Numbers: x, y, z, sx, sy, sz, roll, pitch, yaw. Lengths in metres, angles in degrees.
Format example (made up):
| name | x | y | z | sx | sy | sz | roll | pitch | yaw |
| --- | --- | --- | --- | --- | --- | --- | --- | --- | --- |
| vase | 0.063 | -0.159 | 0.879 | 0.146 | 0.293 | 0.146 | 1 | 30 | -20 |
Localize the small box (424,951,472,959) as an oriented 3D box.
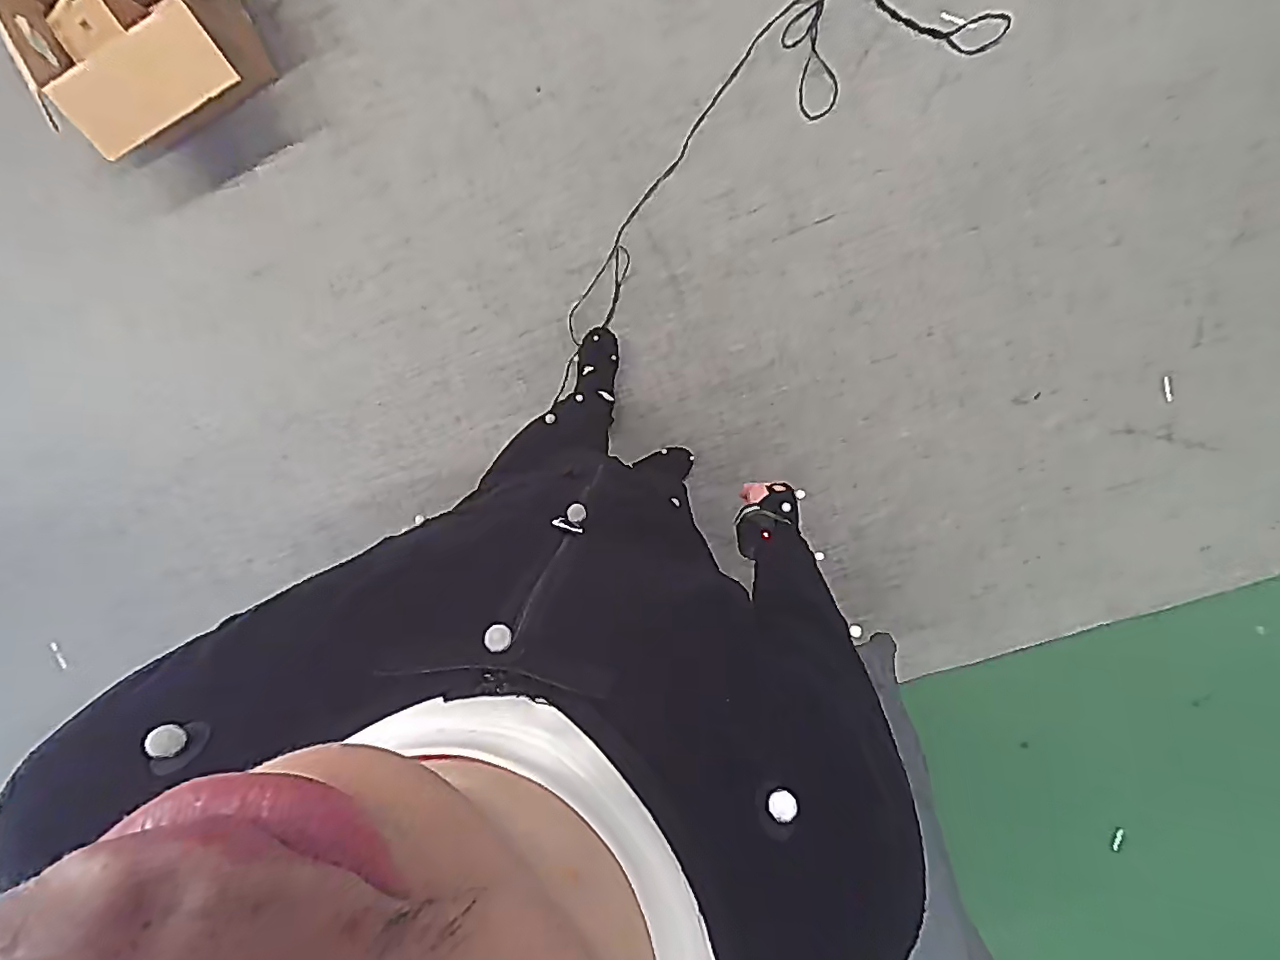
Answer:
| name | x | y | z | sx | sy | sz | roll | pitch | yaw |
| --- | --- | --- | --- | --- | --- | --- | --- | --- | --- |
| small box | -0.351 | 0.929 | 0.887 | 0.168 | 0.176 | 0.179 | -27 | 96 | 7 |
